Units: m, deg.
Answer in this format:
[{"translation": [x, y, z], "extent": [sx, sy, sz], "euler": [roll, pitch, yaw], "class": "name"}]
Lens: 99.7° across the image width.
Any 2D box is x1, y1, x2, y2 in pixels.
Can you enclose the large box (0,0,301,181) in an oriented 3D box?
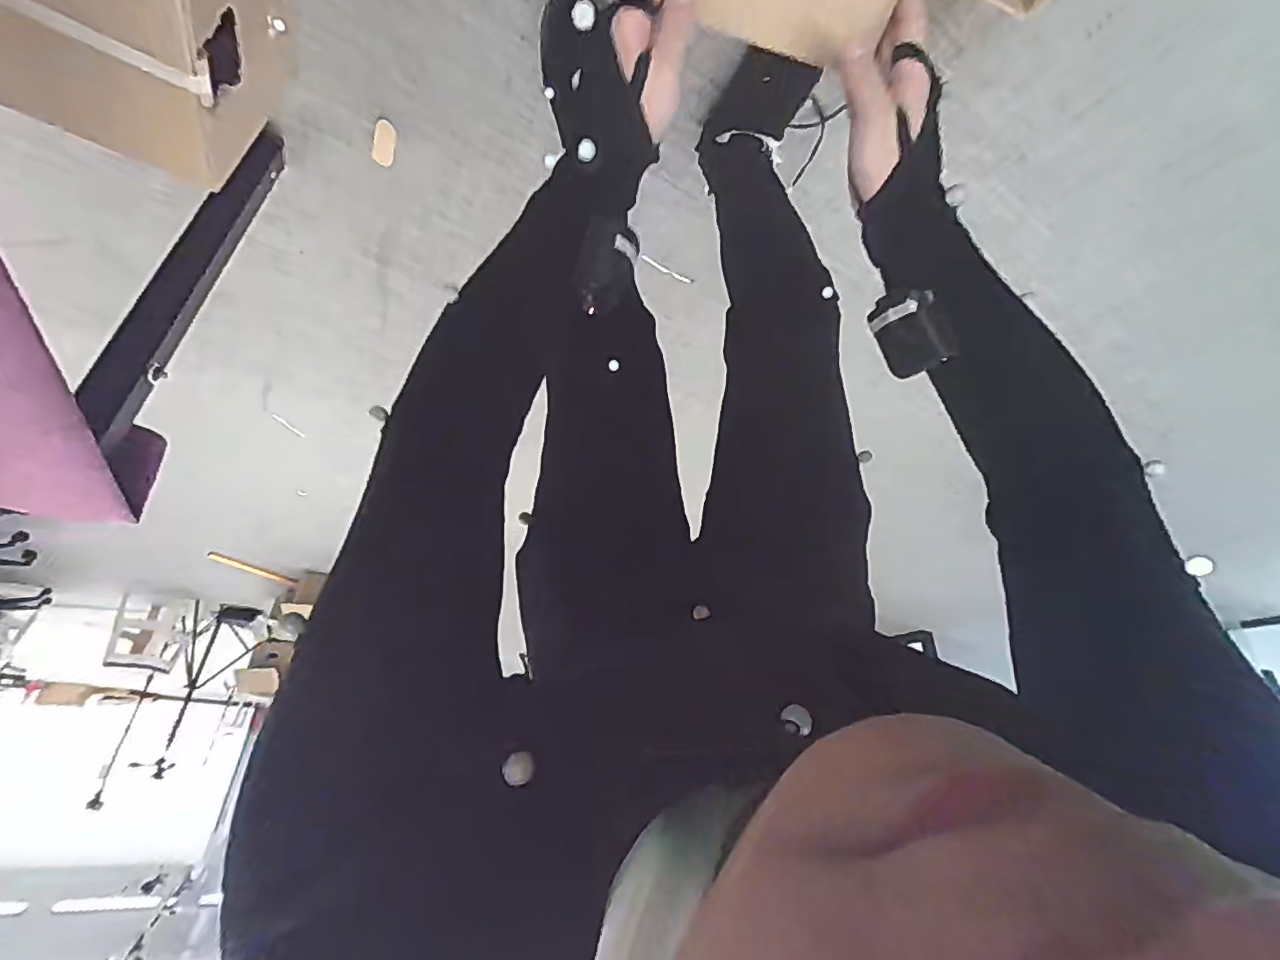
[{"translation": [-0.672, -0.655, 0.627], "extent": [0.408, 0.320, 0.320], "euler": [18, 146, -23], "class": "large box"}]
